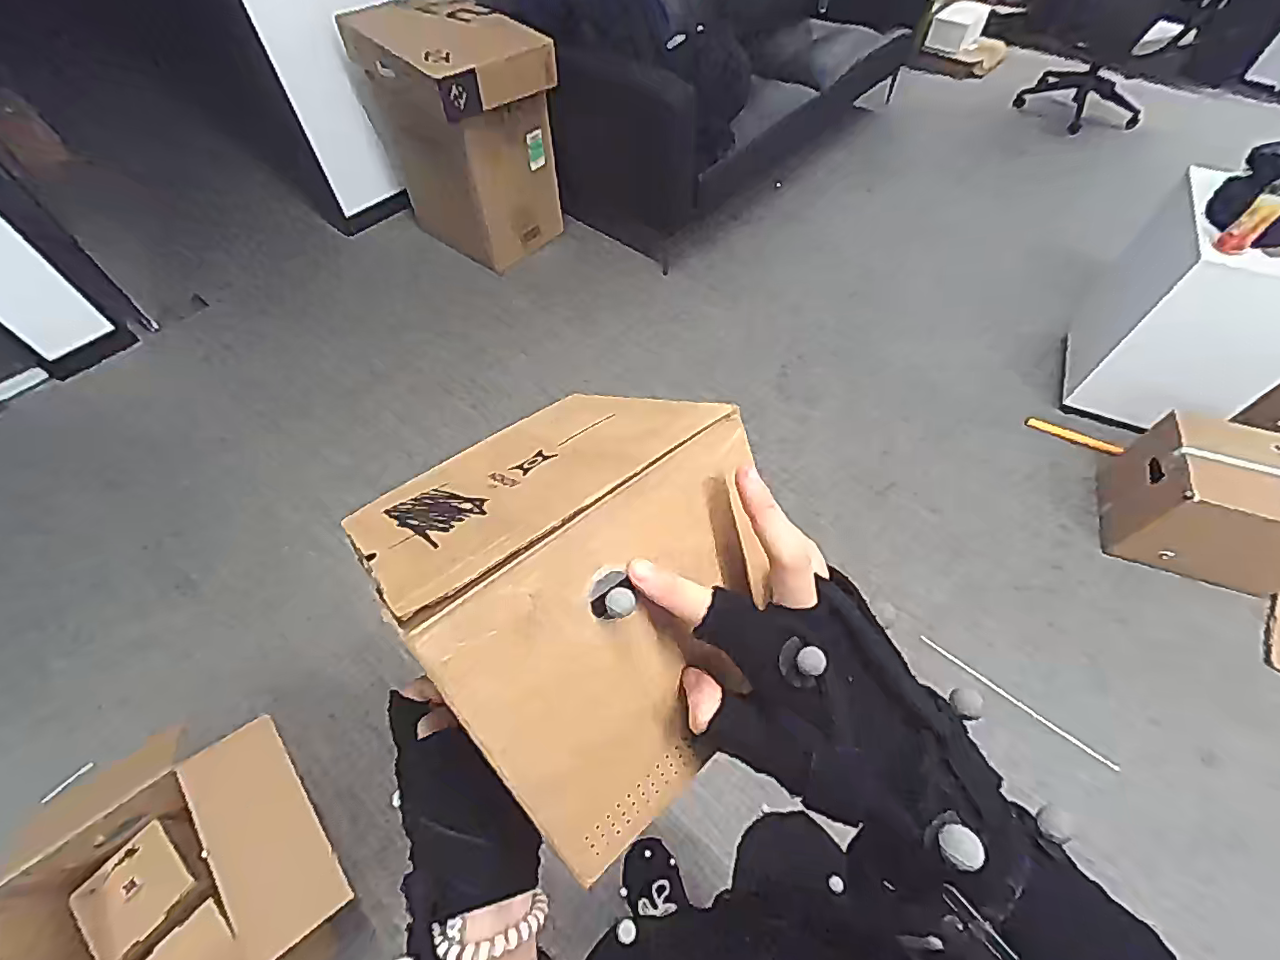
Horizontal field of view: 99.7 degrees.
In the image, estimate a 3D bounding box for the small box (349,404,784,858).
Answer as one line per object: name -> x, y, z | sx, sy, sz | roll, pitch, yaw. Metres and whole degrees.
small box -> -0.038, 0.069, 0.327 | 0.179, 0.176, 0.168 | -34, 27, -25
